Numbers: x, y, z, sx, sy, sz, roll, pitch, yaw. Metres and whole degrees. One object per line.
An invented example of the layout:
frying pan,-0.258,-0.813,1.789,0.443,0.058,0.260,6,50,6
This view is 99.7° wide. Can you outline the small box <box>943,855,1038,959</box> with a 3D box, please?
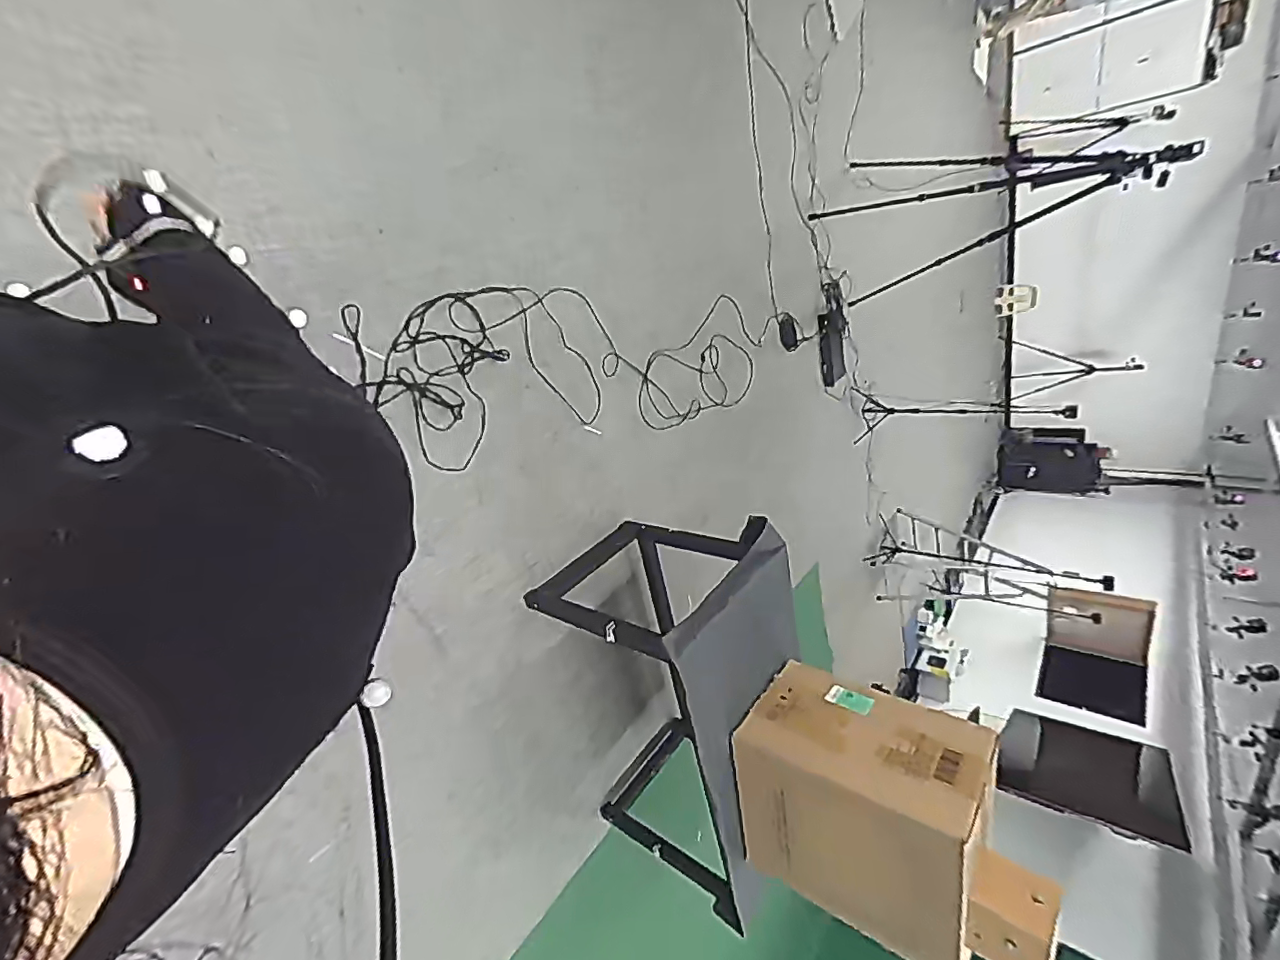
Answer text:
small box,0.869,1.096,1.344,0.179,0.176,0.168,-21,111,-44
